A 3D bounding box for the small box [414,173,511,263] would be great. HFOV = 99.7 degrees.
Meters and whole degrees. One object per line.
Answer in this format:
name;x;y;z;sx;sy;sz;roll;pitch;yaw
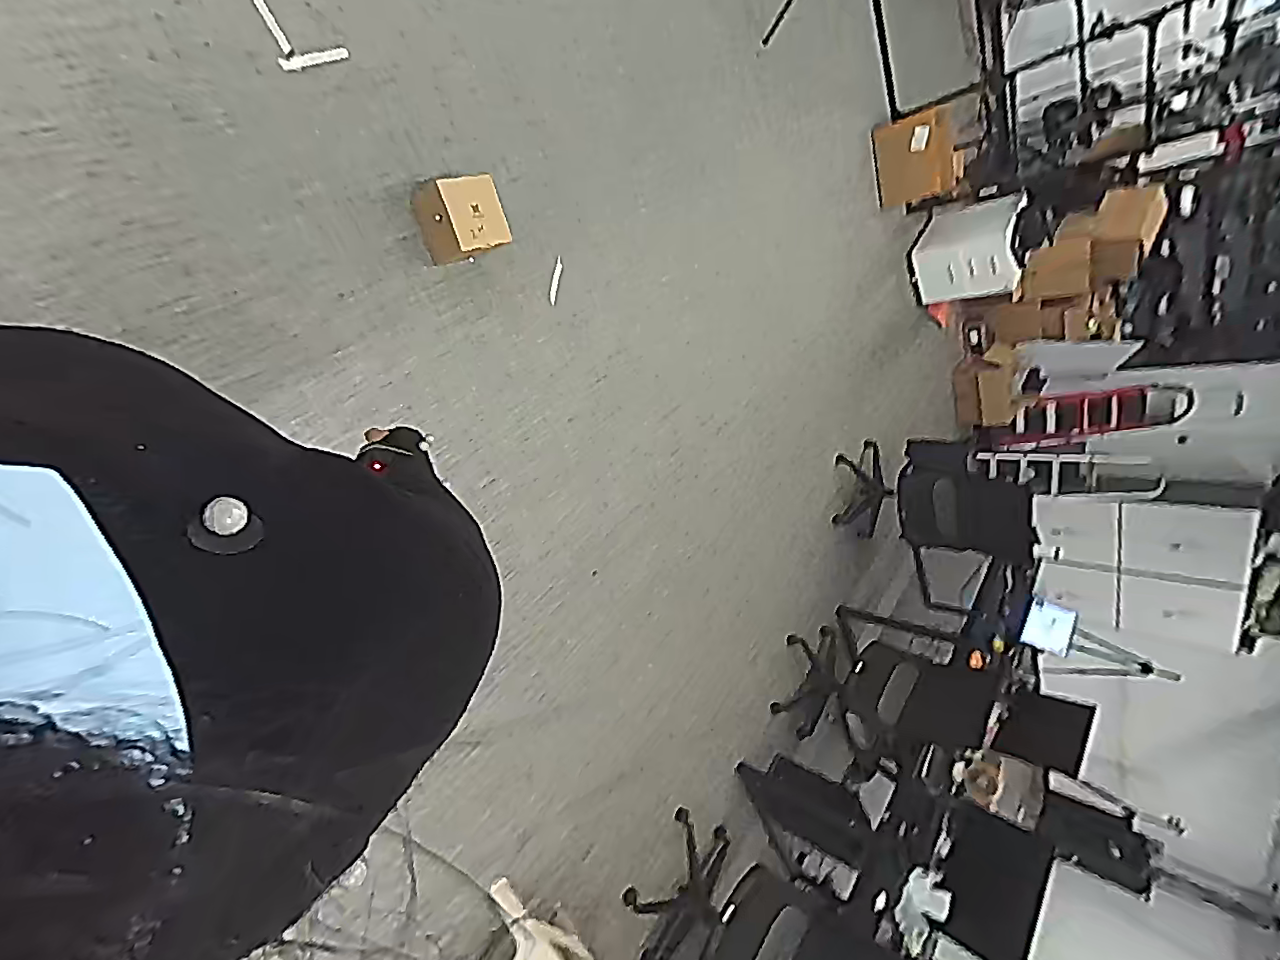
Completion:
small box;-0.489;-0.716;1.482;0.168;0.176;0.179;-32;115;-37
